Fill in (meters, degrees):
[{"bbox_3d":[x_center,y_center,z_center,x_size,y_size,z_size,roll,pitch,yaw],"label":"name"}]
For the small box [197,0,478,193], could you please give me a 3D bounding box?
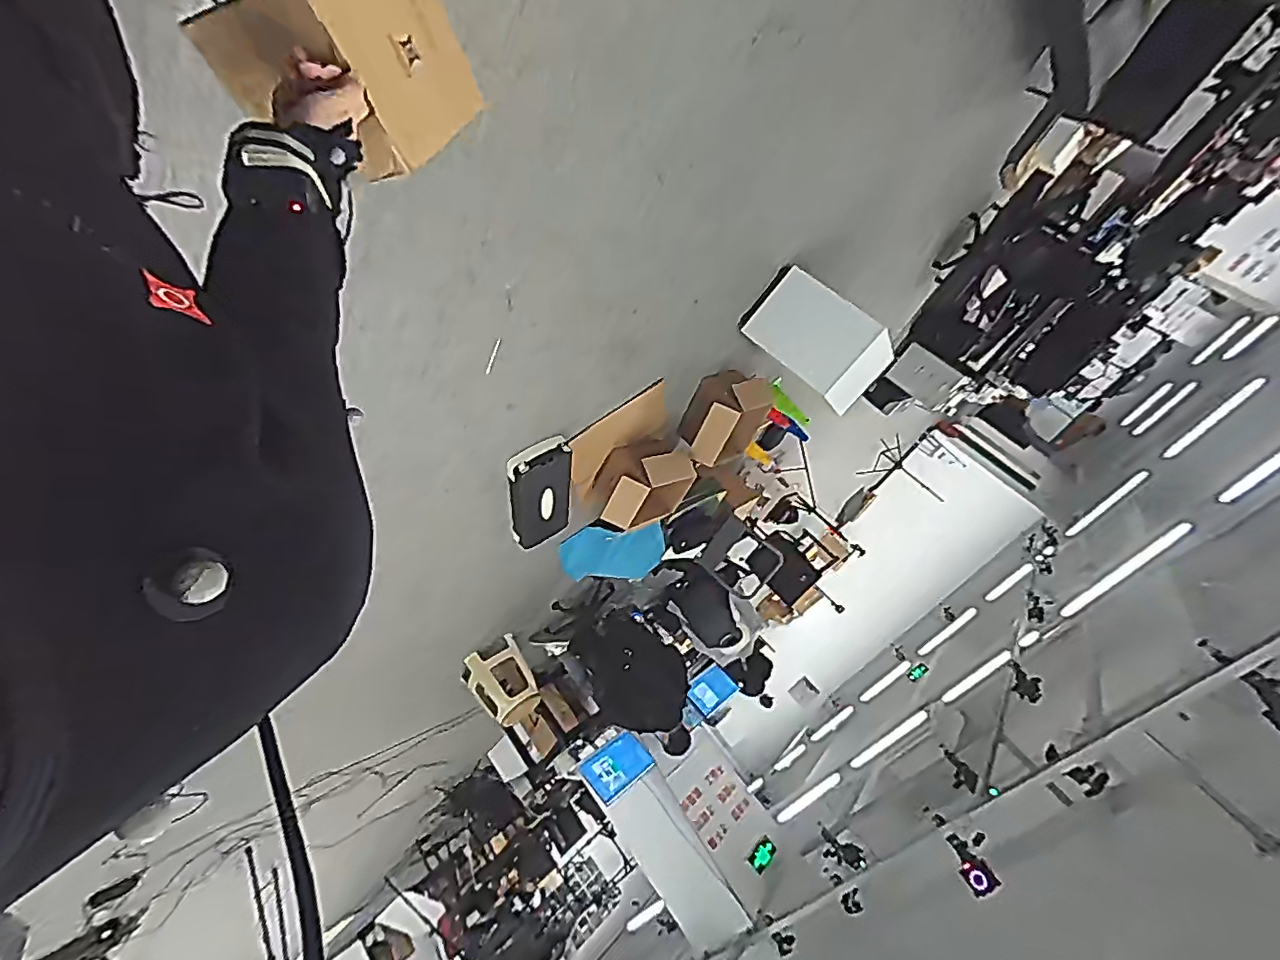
[{"bbox_3d":[-0.315,-0.436,0.579,0.168,0.176,0.179,65,34,-49],"label":"small box"}]
